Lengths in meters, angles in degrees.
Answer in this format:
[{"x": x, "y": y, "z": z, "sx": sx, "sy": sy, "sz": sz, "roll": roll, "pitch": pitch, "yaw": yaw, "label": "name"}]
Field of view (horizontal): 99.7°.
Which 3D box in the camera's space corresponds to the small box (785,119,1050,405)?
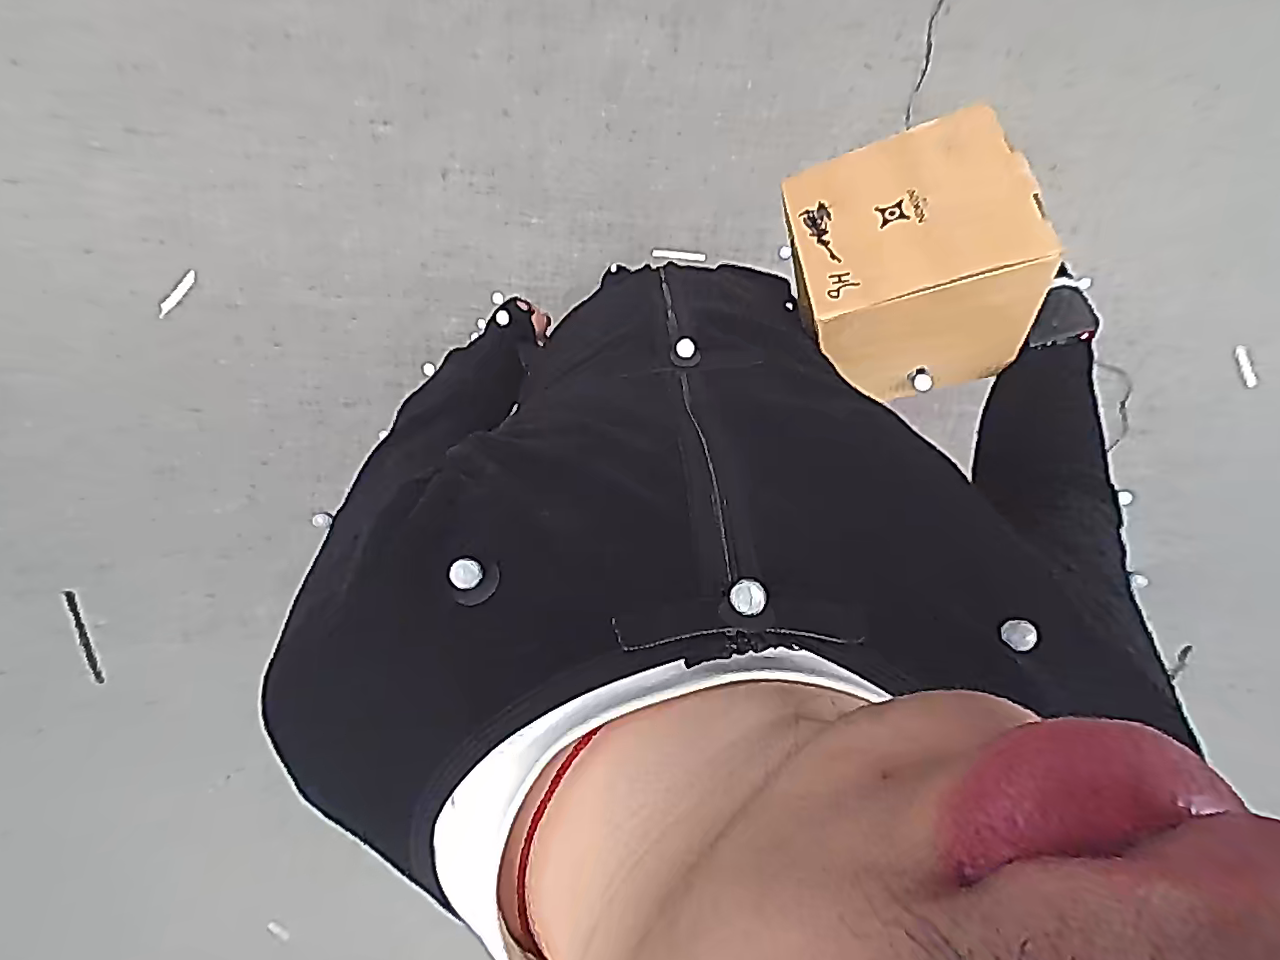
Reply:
[{"x": 0.251, "y": -0.197, "z": 0.533, "sx": 0.179, "sy": 0.168, "sz": 0.176, "roll": -12, "pitch": 155, "yaw": 17, "label": "small box"}]
